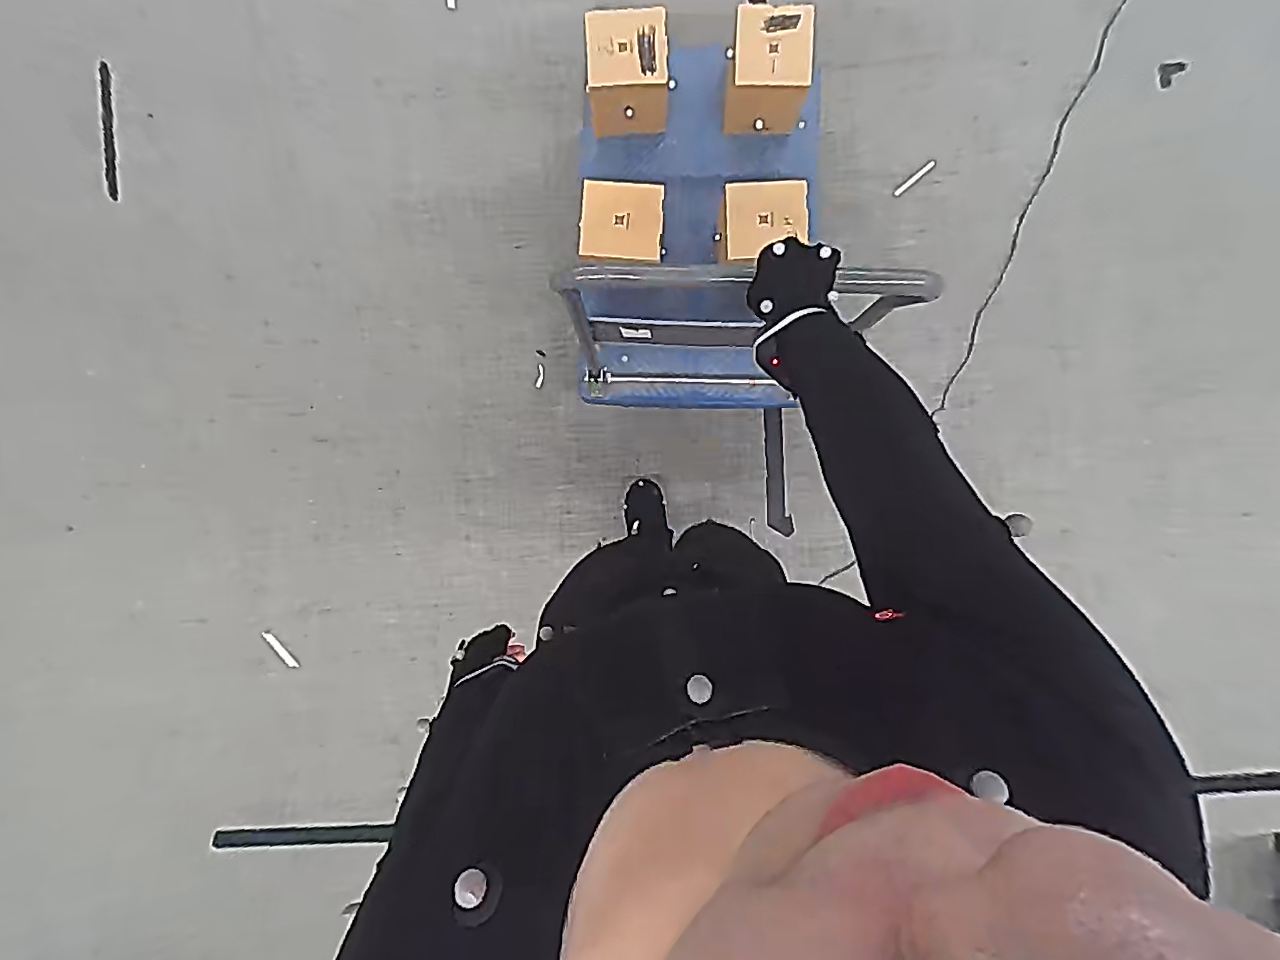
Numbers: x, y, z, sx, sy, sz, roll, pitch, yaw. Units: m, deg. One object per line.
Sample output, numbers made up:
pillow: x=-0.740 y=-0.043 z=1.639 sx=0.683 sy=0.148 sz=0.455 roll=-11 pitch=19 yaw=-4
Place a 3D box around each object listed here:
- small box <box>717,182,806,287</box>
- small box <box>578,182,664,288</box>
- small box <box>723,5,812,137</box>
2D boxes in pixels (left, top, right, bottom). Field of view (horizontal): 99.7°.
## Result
small box: x=0.269 y=-0.551 z=1.233 sx=0.179 sy=0.176 sz=0.168 roll=-1 pitch=90 yaw=1
small box: x=-0.041 y=-0.552 z=1.238 sx=0.179 sy=0.176 sz=0.168 roll=3 pitch=89 yaw=-1
small box: x=0.284 y=-0.927 z=1.237 sx=0.168 sy=0.176 sz=0.179 roll=2 pitch=91 yaw=1
